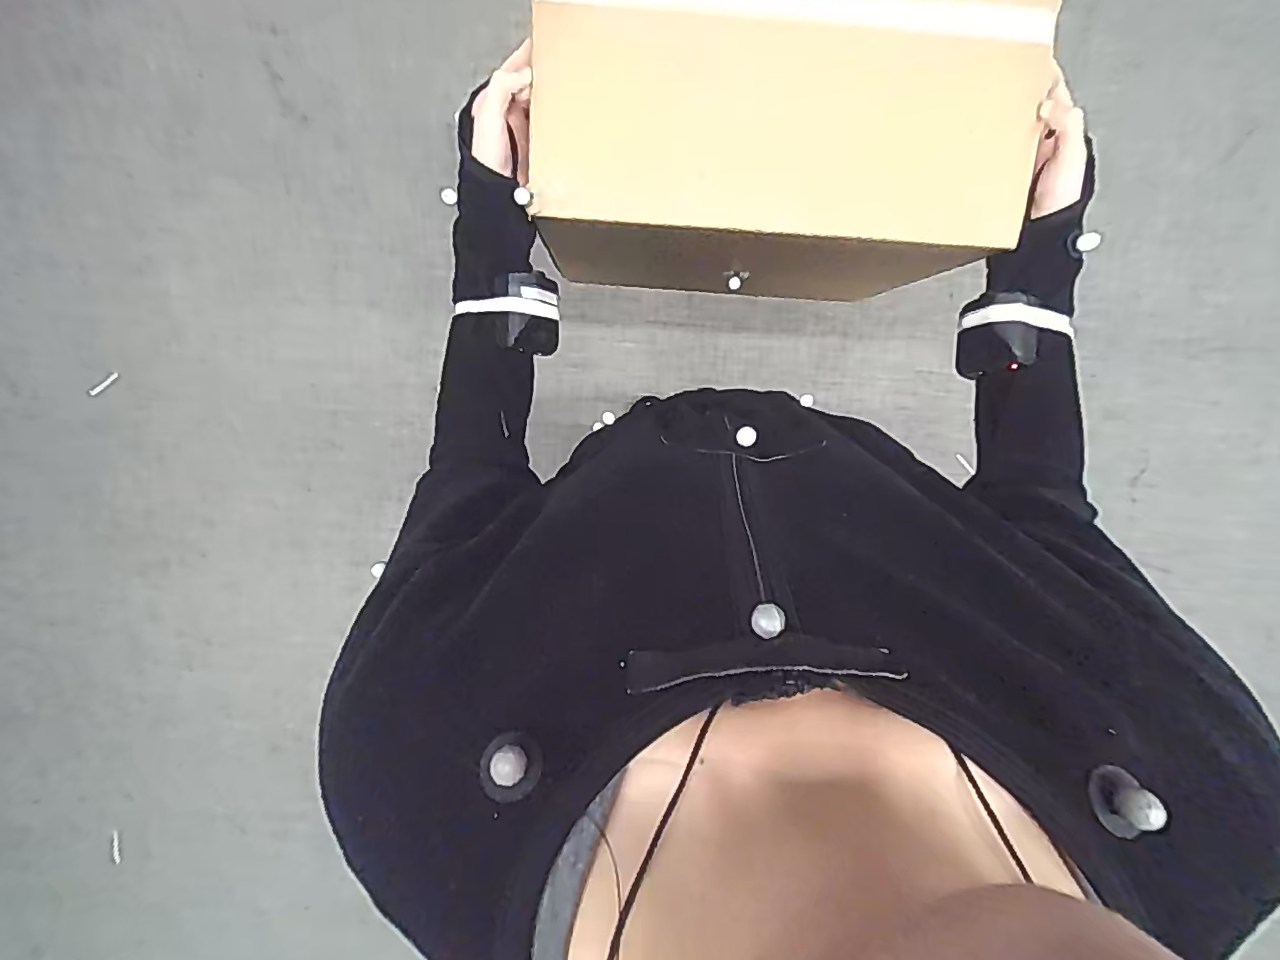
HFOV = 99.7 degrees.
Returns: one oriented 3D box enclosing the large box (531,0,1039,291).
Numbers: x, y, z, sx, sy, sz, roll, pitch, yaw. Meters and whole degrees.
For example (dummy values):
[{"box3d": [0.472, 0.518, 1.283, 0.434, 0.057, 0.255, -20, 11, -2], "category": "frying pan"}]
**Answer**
[{"box3d": [0.112, -0.385, 0.572, 0.408, 0.320, 0.320, 3, 100, -2], "category": "large box"}]
